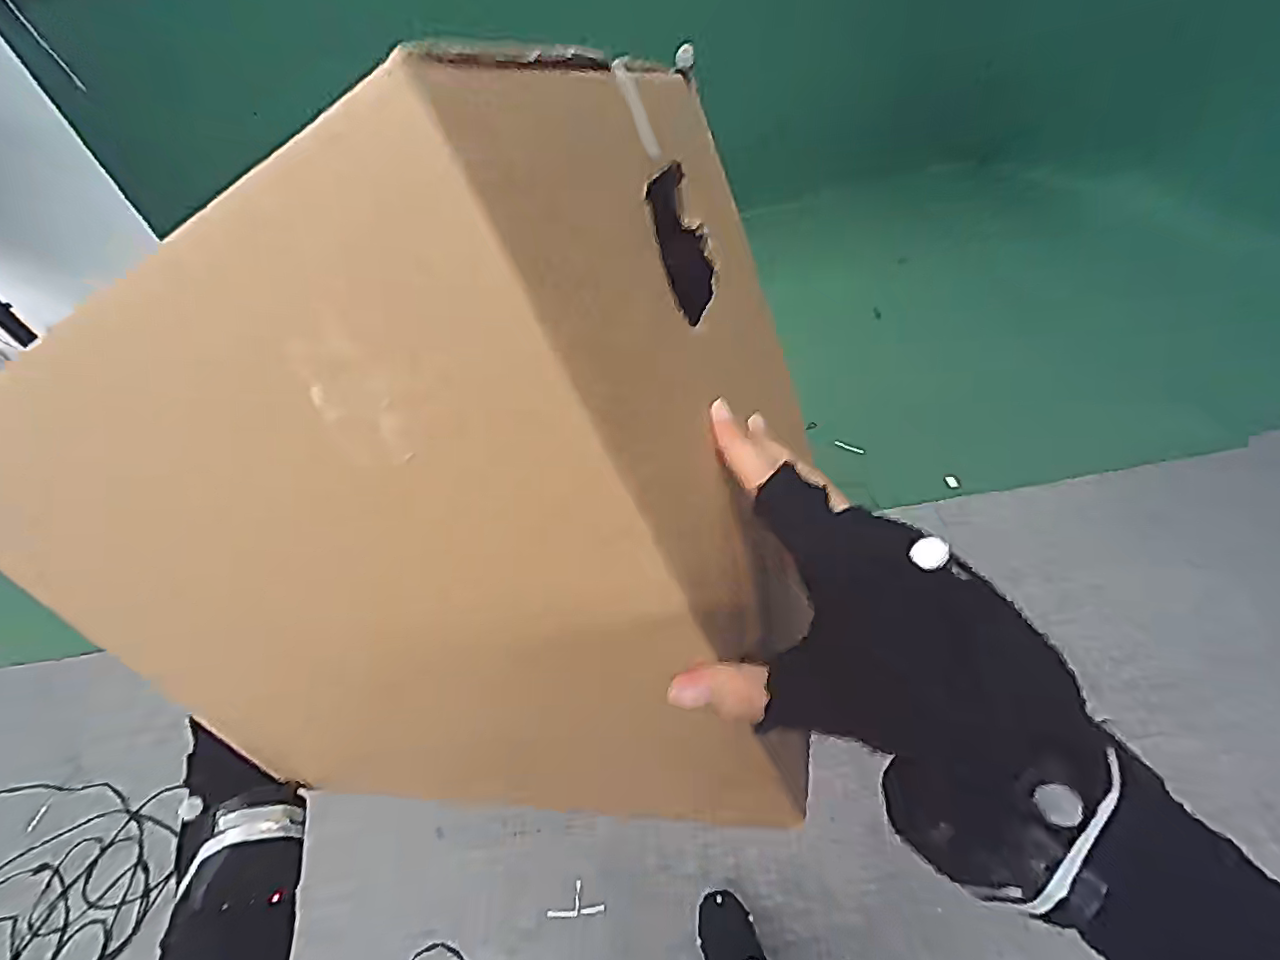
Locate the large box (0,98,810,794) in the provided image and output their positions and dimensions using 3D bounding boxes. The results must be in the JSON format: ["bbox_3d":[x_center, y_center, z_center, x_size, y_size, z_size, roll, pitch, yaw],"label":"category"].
[{"bbox_3d":[-0.116,-0.007,0.398,0.408,0.320,0.320,-12,31,25],"label":"large box"}]
